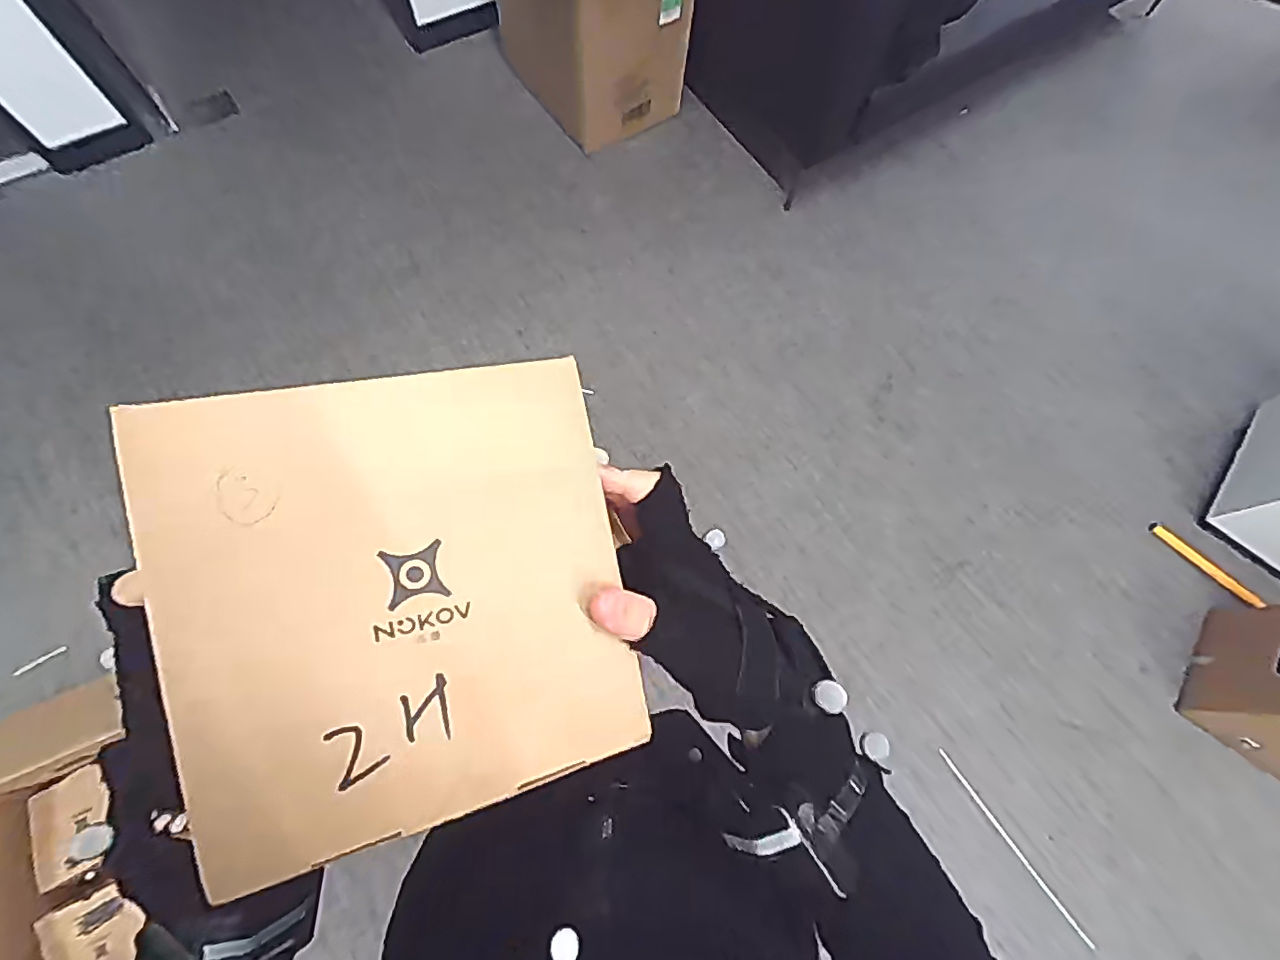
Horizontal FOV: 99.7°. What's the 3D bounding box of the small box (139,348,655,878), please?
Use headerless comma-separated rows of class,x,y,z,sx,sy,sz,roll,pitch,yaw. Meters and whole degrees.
small box,-0.111,0.045,0.287,0.168,0.176,0.179,-11,90,-20
